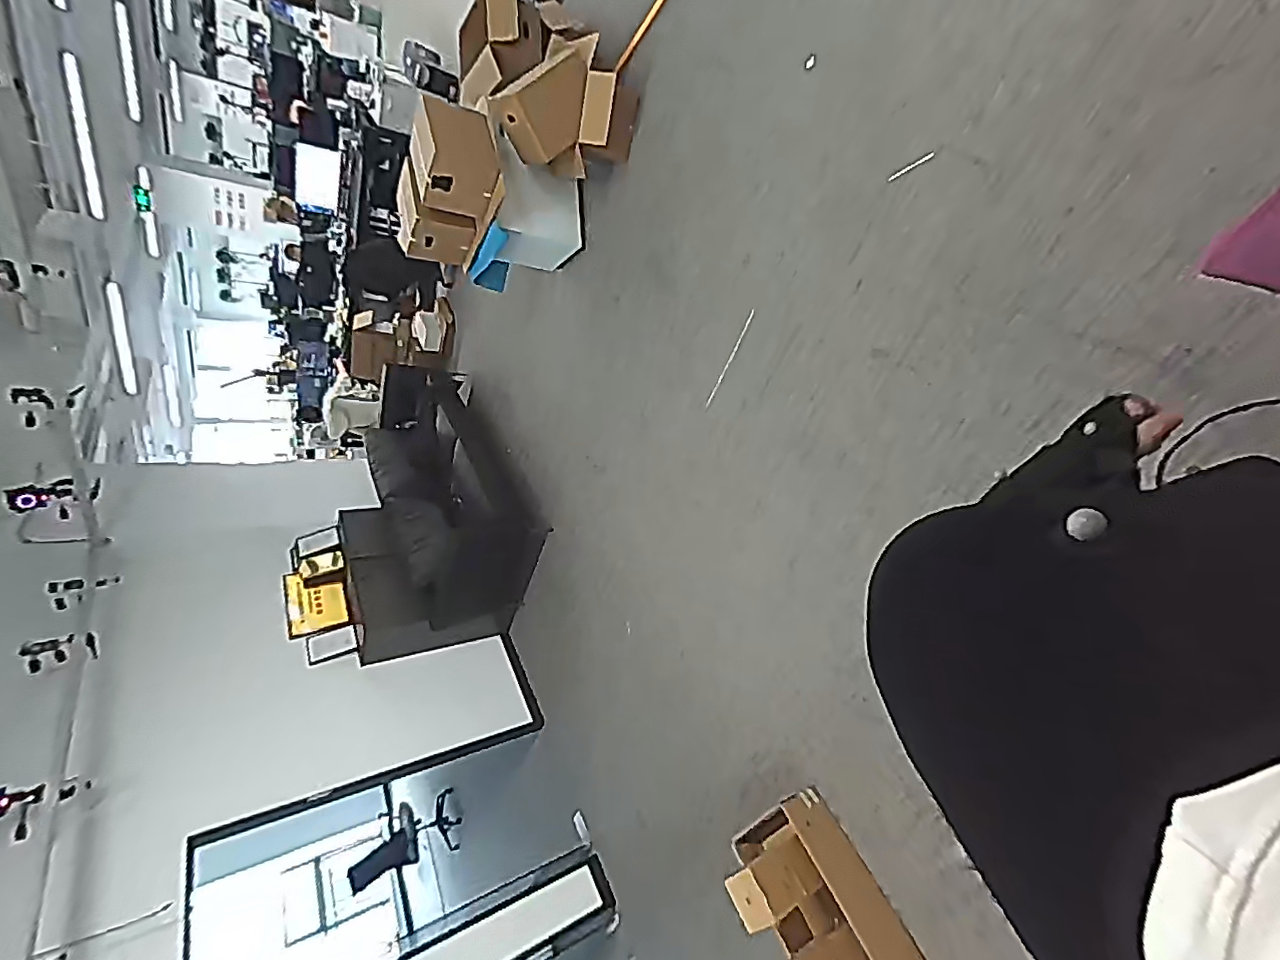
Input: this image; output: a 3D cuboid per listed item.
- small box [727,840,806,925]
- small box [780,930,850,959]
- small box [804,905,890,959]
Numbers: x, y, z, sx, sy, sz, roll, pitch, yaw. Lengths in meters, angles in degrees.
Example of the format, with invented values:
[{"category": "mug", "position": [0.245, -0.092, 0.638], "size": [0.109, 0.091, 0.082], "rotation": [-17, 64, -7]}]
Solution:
[{"category": "small box", "position": [0.443, 1.399, 1.883], "size": [0.168, 0.176, 0.179], "rotation": [56, 134, 34]}, {"category": "small box", "position": [0.570, 1.588, 1.725], "size": [0.168, 0.176, 0.179], "rotation": [57, 135, 34]}, {"category": "small box", "position": [0.700, 1.581, 1.822], "size": [0.168, 0.176, 0.179], "rotation": [57, 136, 34]}]
